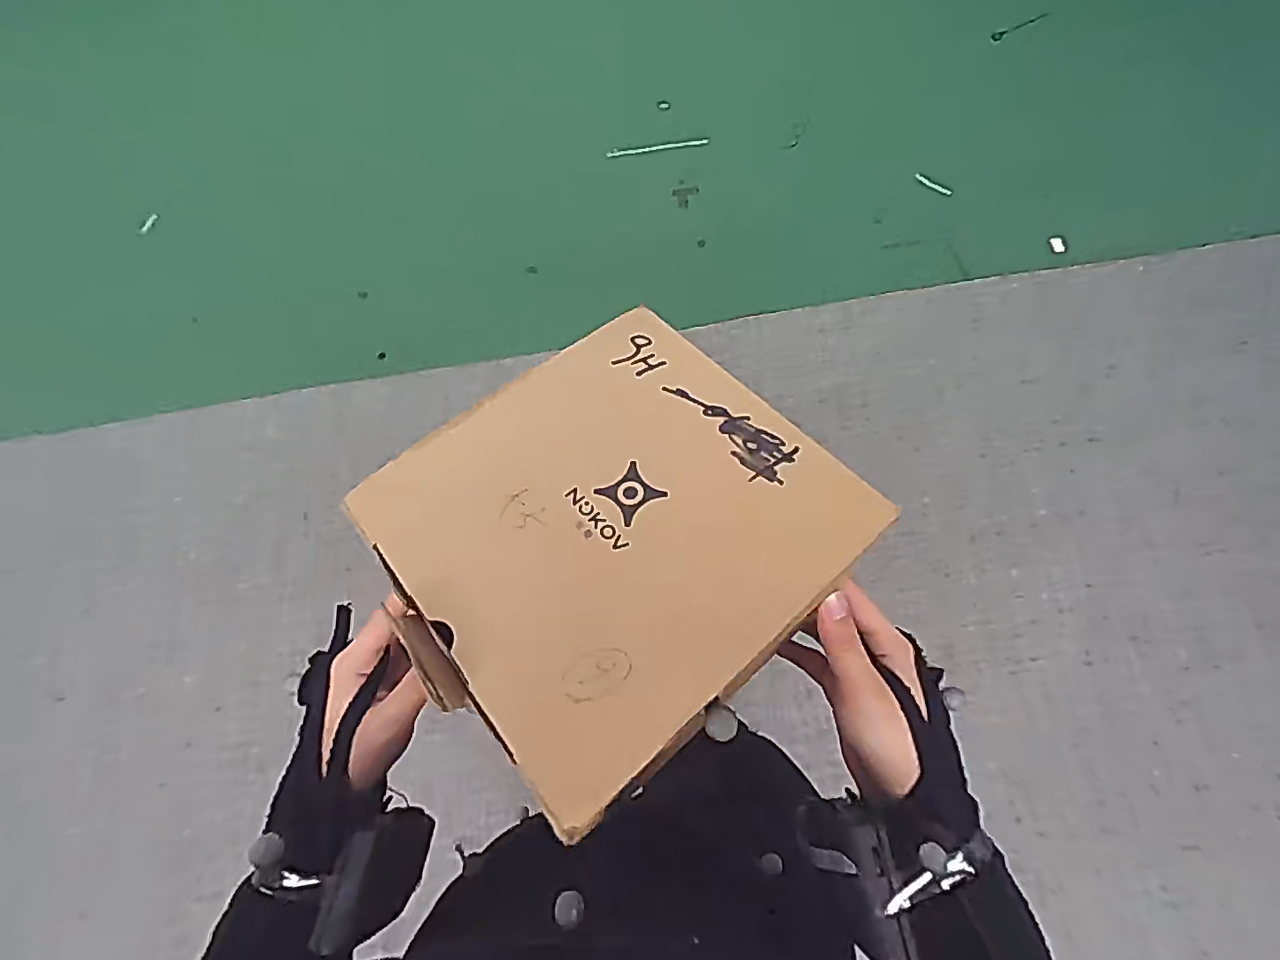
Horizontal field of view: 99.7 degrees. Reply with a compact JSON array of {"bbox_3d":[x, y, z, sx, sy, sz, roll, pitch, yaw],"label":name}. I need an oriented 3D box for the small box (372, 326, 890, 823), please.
[{"bbox_3d":[-0.003,0.056,0.308,0.179,0.176,0.168,-38,66,-18],"label":"small box"}]
